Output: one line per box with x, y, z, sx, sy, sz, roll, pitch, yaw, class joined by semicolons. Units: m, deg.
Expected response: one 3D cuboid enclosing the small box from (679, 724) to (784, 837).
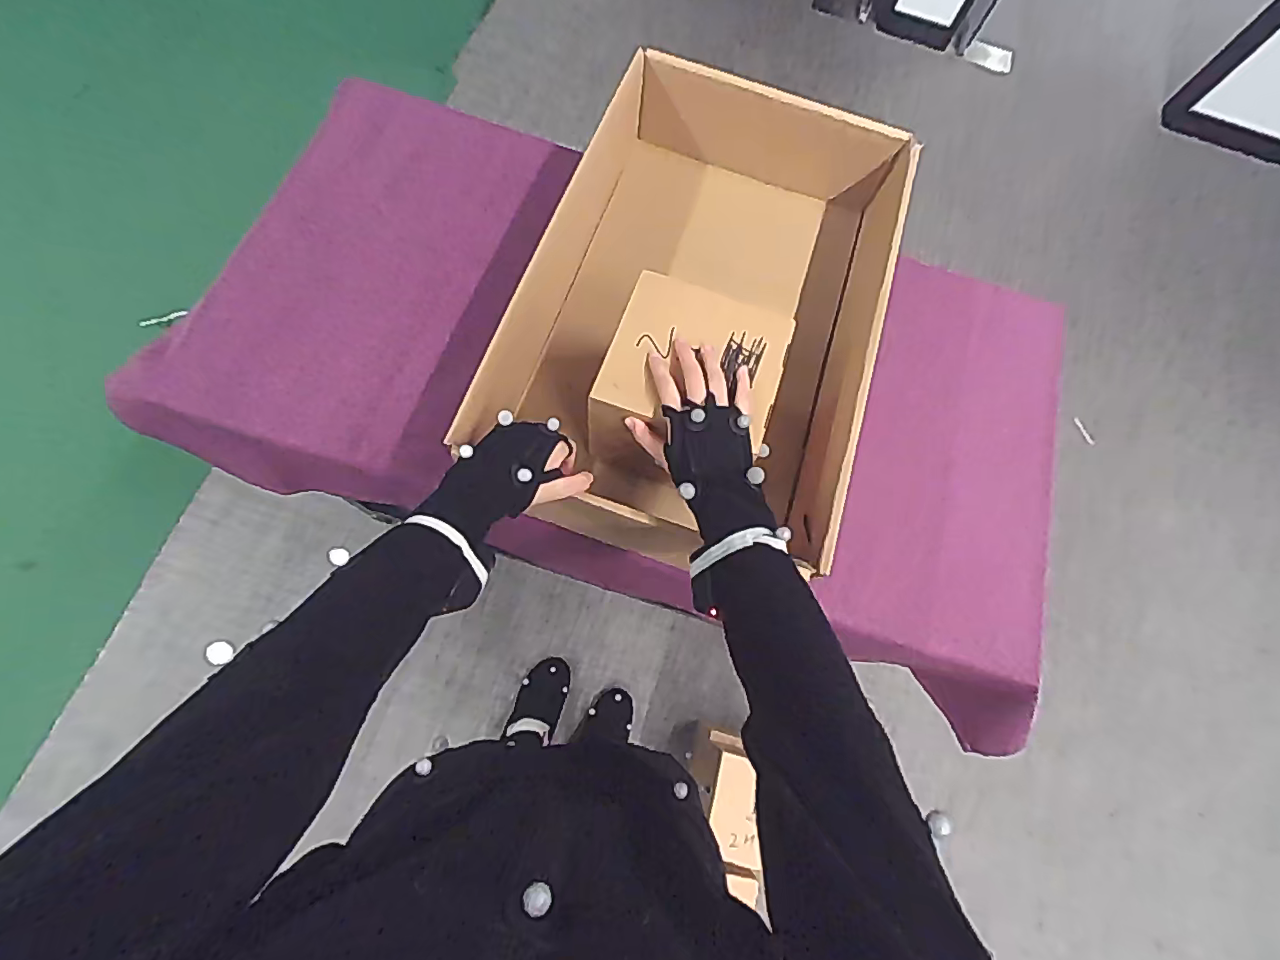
0.201;0.667;1.222;0.179;0.176;0.168;17;72;1;small box
